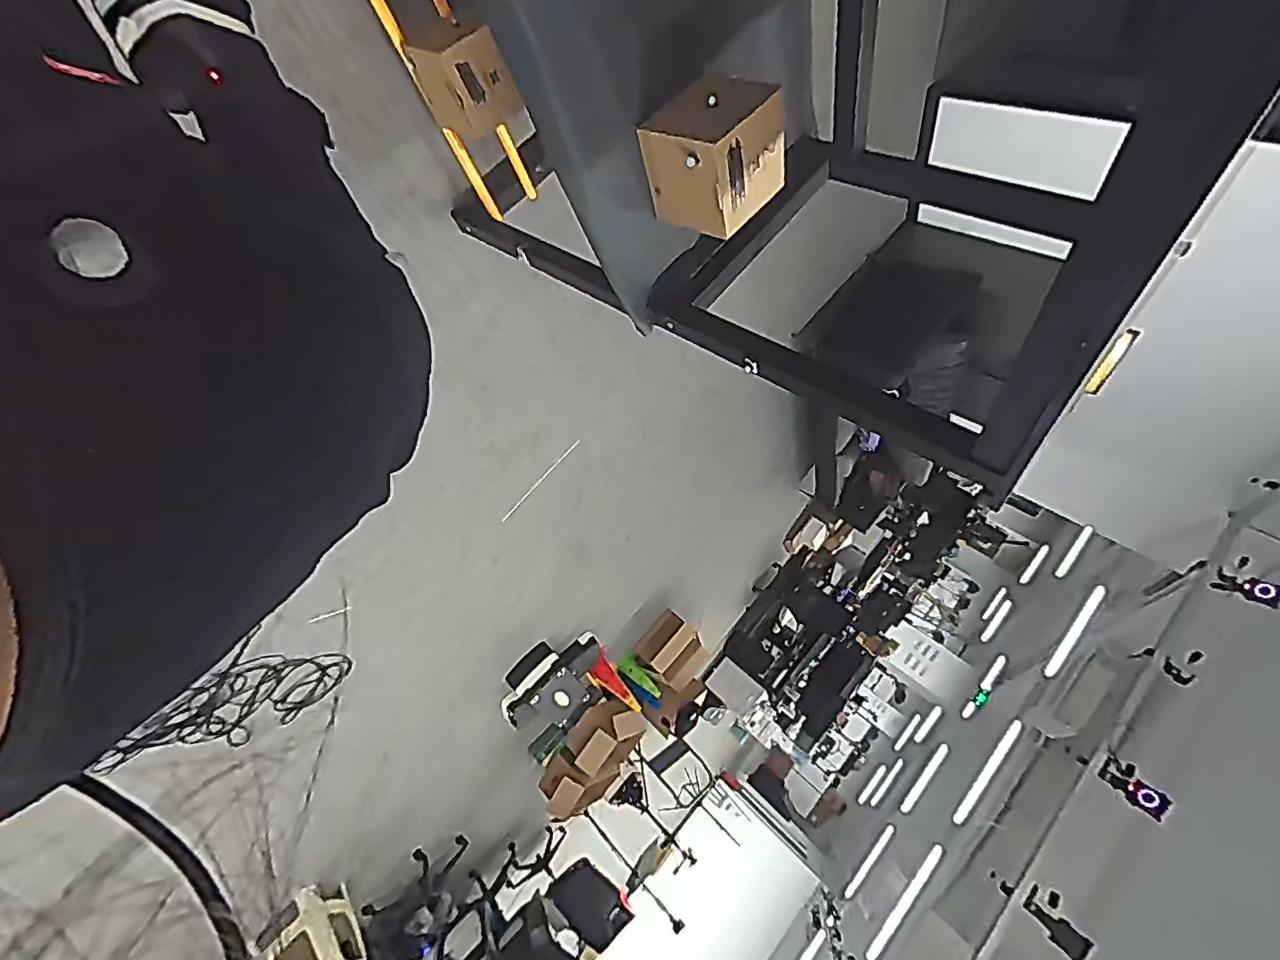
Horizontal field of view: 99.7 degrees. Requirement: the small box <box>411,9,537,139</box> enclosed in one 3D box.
[{"bbox_3d":[-0.360,-0.871,1.158,0.179,0.176,0.168,-45,149,-15],"label":"small box"}]
